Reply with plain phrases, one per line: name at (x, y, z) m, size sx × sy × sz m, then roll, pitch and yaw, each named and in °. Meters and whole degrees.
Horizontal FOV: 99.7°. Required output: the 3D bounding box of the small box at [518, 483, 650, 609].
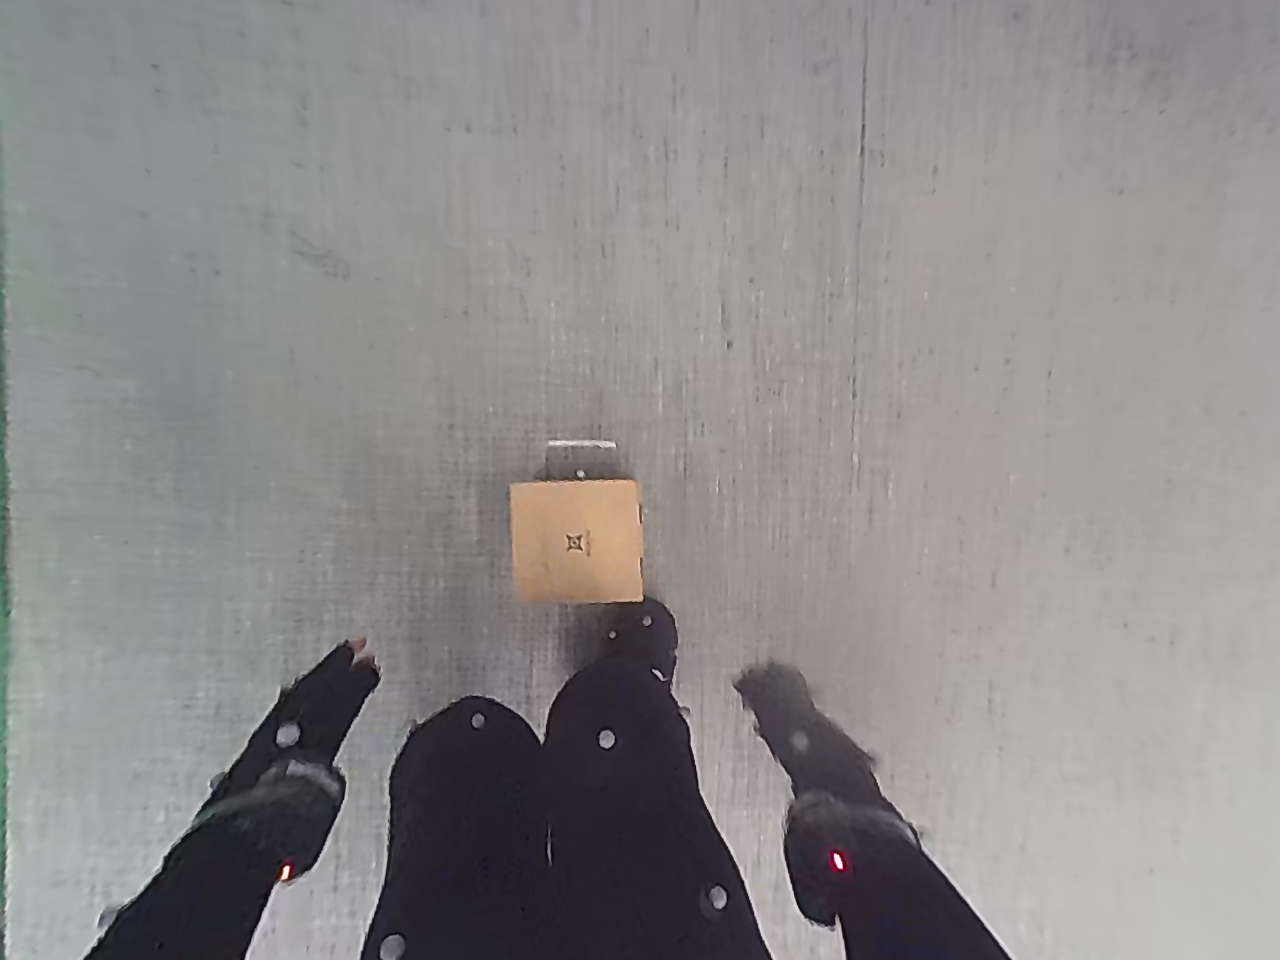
small box at (-0.079, 0.090, 0.813) m, size 0.179 × 0.176 × 0.168 m, roll -2°, pitch 90°, yaw -1°
